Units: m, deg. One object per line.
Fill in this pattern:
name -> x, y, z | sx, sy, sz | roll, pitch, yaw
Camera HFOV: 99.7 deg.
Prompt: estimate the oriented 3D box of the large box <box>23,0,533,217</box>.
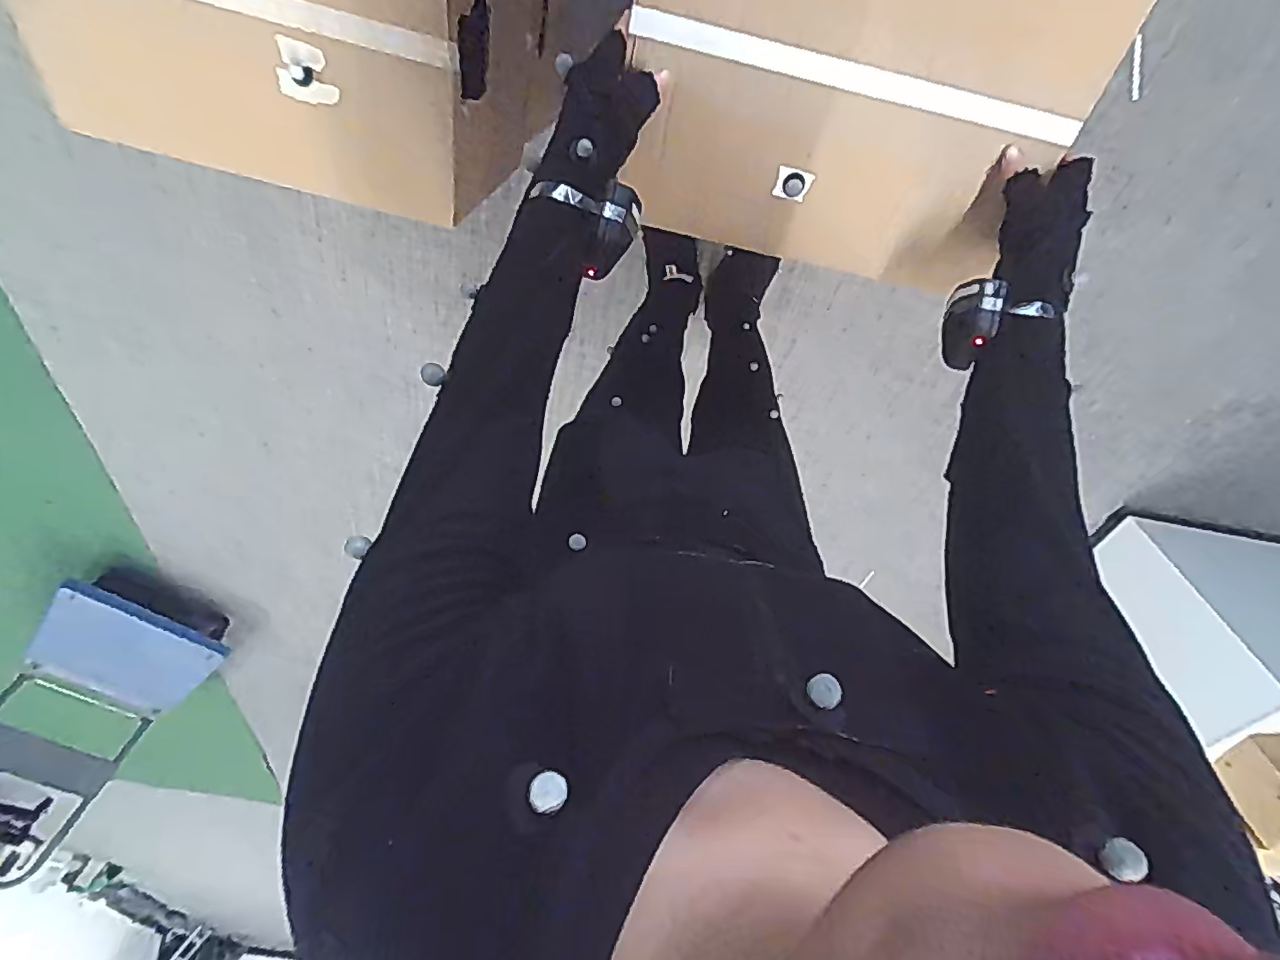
large box -> -0.348, -0.533, 0.591 | 0.408, 0.320, 0.320 | 12, 131, -6
